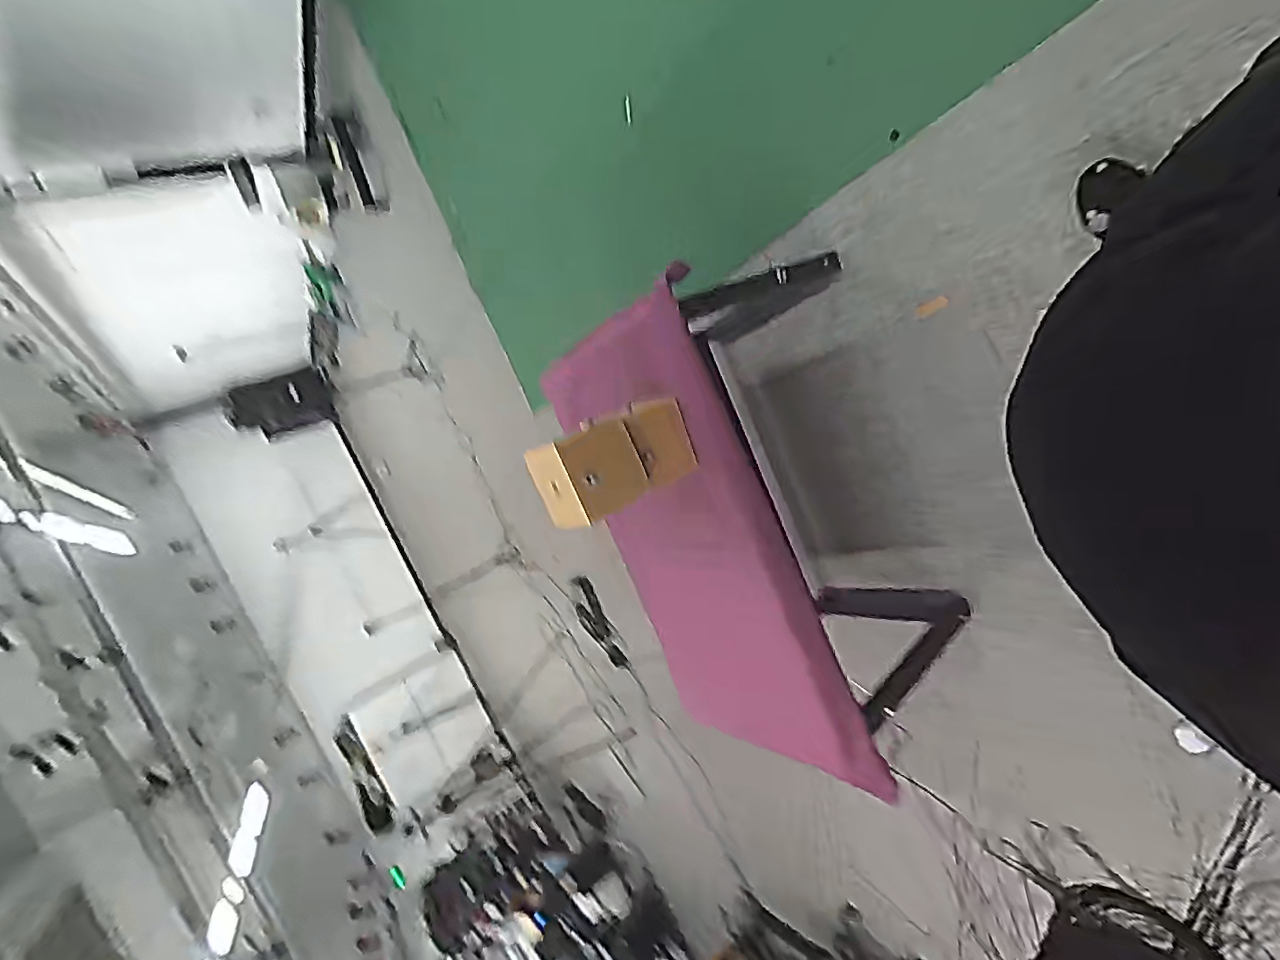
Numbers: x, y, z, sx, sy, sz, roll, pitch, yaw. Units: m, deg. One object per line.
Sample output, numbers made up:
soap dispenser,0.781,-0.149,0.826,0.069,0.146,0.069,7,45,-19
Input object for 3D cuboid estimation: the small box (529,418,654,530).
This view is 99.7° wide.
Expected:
small box,-0.099,-0.011,1.135,0.168,0.176,0.179,-10,106,57

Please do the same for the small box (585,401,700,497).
small box,0.008,-0.074,1.245,0.168,0.176,0.179,0,115,56
